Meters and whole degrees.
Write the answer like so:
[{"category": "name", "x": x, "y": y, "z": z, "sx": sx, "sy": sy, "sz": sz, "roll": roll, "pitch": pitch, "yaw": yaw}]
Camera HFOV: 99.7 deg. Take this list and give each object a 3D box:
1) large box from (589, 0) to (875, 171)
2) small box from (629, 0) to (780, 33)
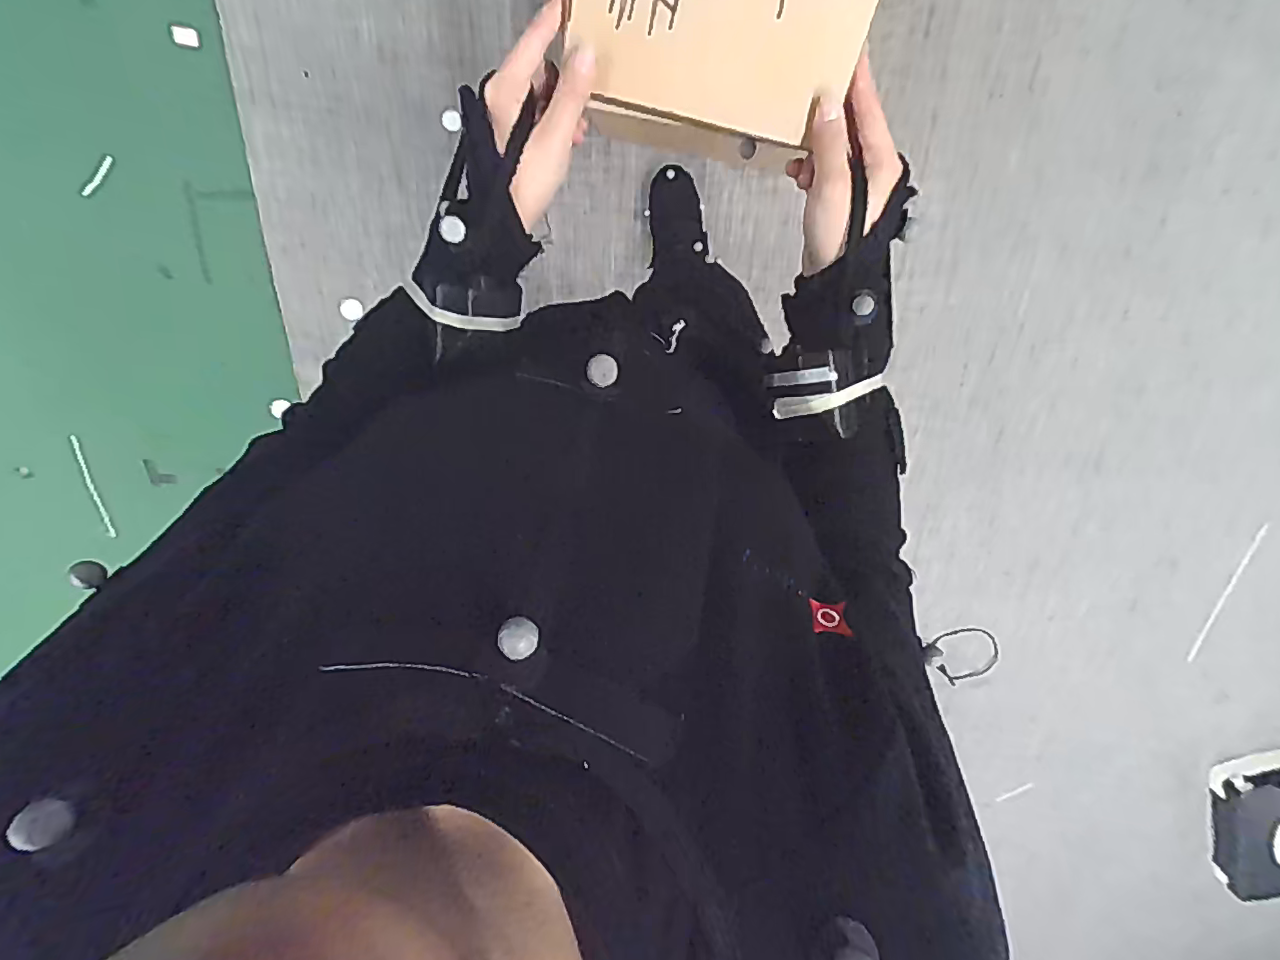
[{"category": "large box", "x": 0.136, "y": -0.741, "z": 0.917, "sx": 0.408, "sy": 0.320, "sz": 0.320, "roll": 8, "pitch": 115, "yaw": -3}, {"category": "small box", "x": 0.078, "y": -0.590, "z": 0.543, "sx": 0.179, "sy": 0.176, "sz": 0.168, "roll": 9, "pitch": 113, "yaw": -3}]
